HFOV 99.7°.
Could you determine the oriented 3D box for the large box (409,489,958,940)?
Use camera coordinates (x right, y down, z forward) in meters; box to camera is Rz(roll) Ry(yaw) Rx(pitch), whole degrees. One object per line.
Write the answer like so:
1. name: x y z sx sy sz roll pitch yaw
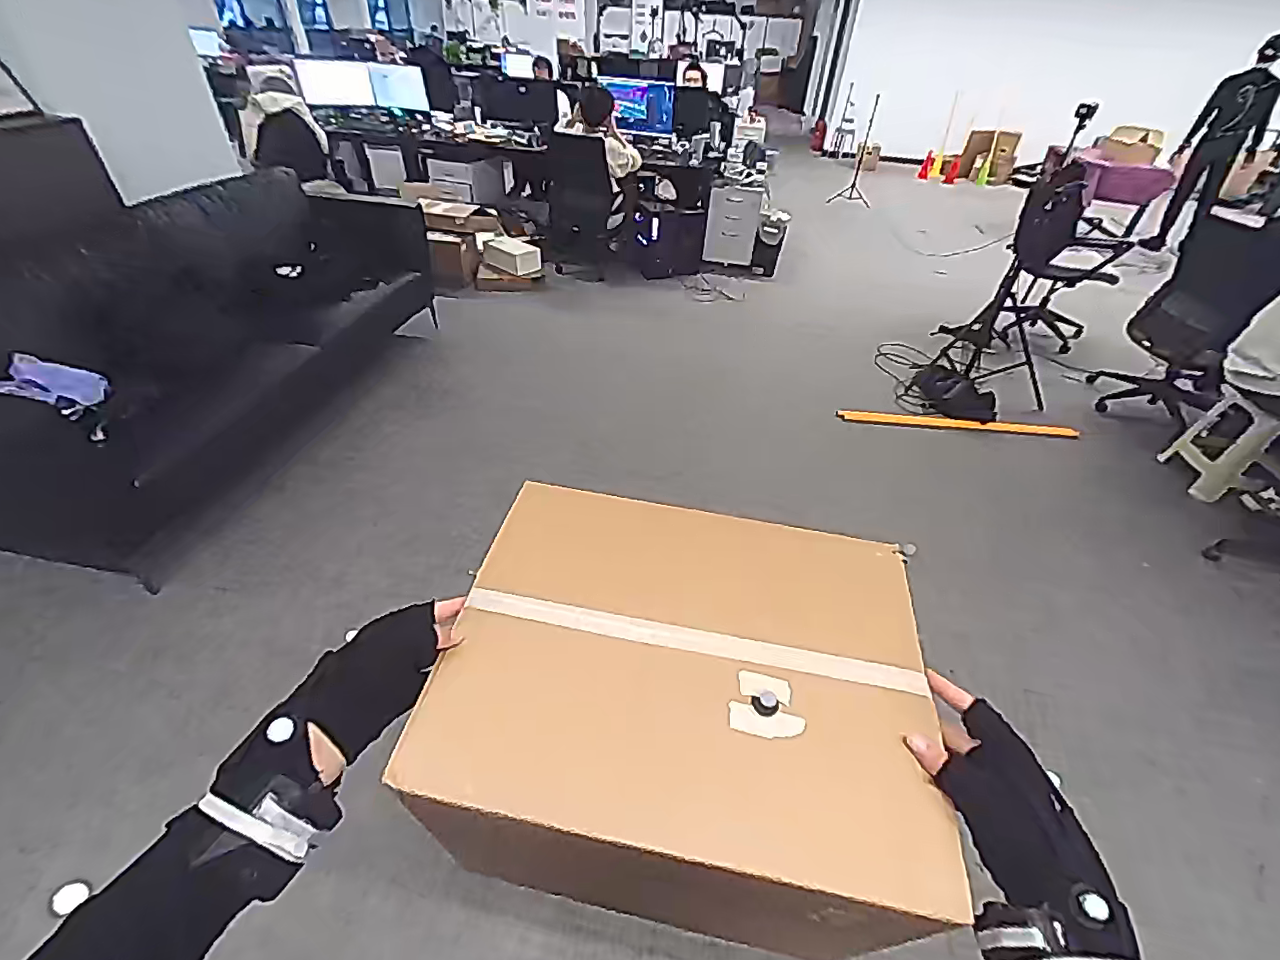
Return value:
1. large box: 0.039 0.247 0.590 0.408 0.320 0.320 9 46 6
